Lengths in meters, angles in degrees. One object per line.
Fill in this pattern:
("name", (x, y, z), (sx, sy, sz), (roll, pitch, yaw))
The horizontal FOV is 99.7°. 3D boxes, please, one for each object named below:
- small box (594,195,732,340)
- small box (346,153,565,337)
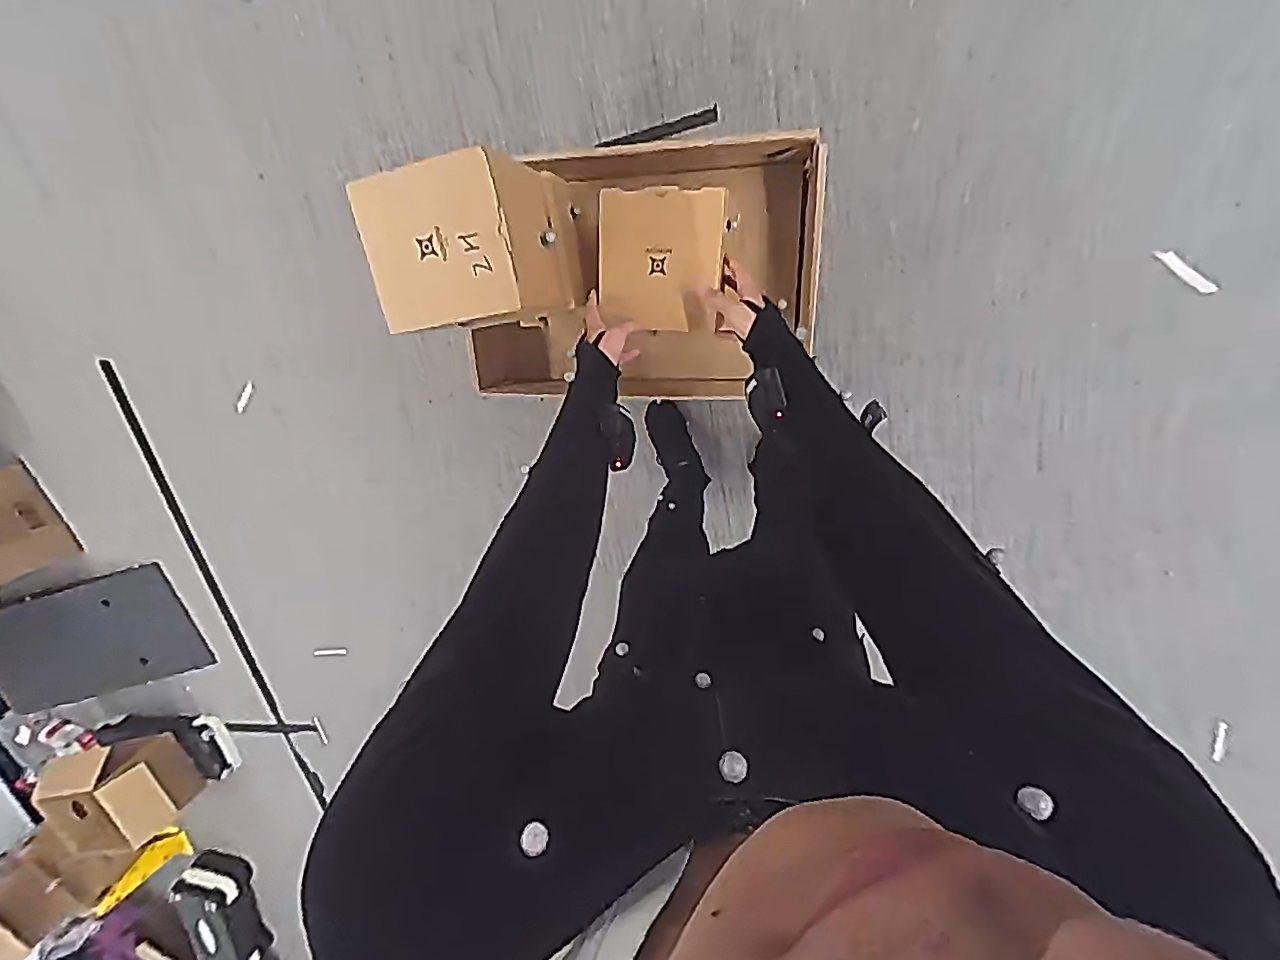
("small box", (0.039, -0.303, 0.784), (0.168, 0.176, 0.179), (7, 109, 14))
("small box", (-0.213, -0.276, 0.670), (0.179, 0.176, 0.168), (-6, 108, 13))
